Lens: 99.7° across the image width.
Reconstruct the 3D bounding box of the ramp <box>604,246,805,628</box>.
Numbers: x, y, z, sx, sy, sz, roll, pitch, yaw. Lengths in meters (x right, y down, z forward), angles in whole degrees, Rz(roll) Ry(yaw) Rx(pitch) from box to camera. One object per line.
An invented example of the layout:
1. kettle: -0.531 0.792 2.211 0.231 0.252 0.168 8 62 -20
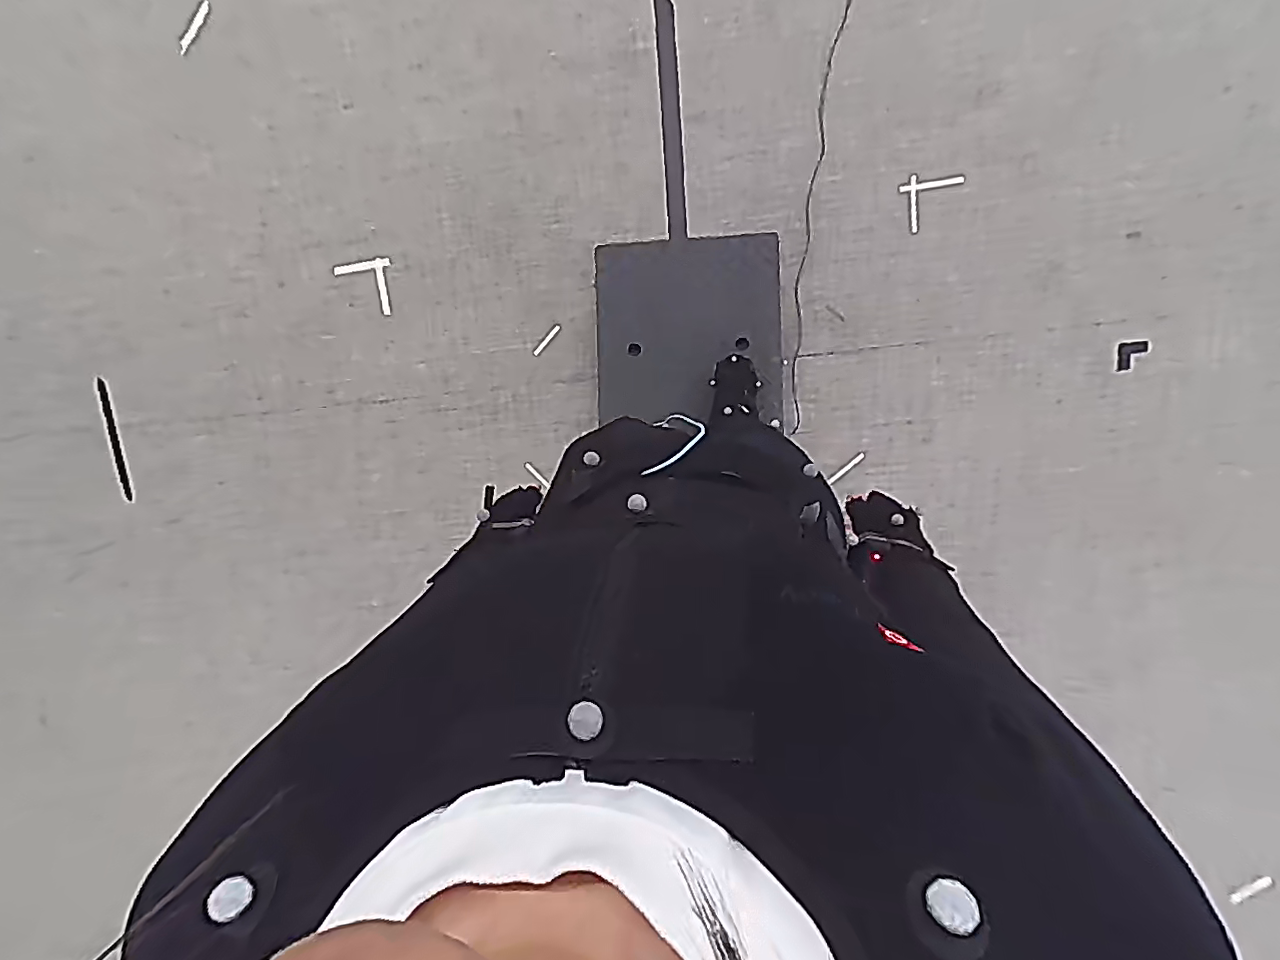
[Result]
1. ramp: 0.158 -0.115 1.443 0.509 0.206 0.991 -4 96 9
